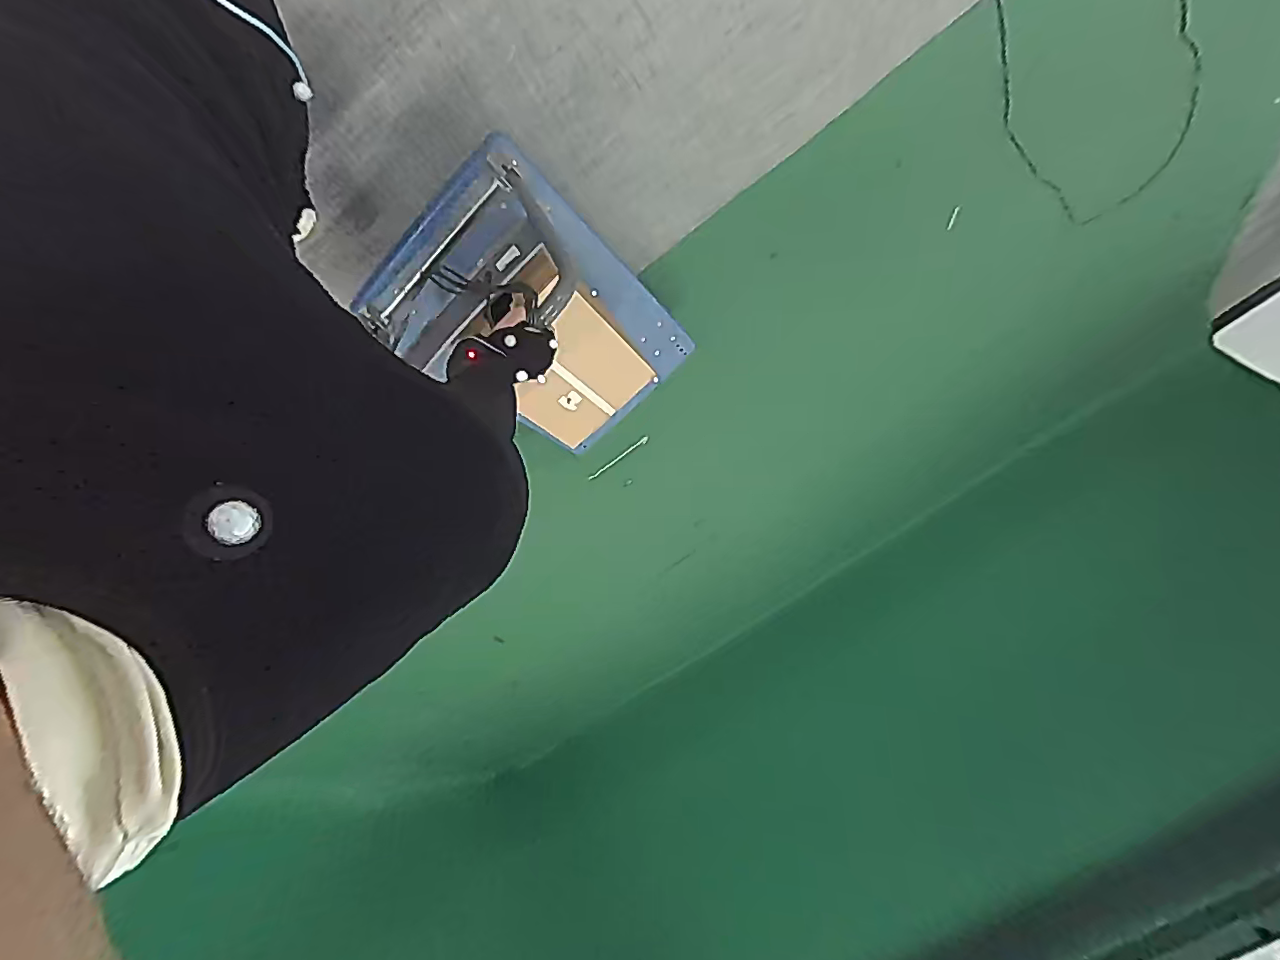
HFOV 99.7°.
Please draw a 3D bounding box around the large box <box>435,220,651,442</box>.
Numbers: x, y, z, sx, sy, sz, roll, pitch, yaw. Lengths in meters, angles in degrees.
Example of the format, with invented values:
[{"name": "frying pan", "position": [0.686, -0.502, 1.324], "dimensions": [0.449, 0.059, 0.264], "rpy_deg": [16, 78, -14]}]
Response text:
[{"name": "large box", "position": [-0.249, -0.370, 1.397], "dimensions": [0.320, 0.320, 0.408], "rpy_deg": [-39, 141, 13]}]
